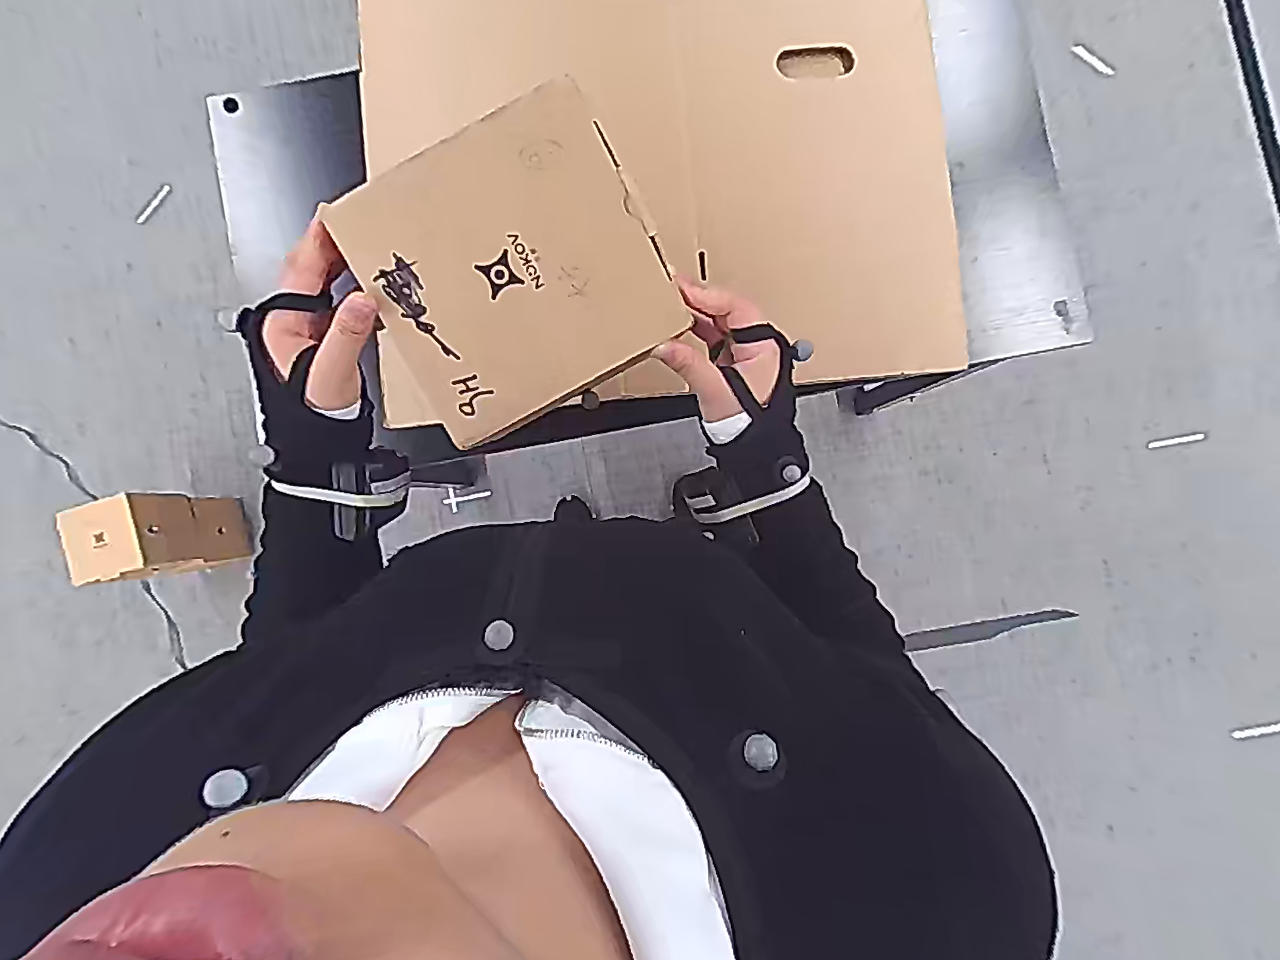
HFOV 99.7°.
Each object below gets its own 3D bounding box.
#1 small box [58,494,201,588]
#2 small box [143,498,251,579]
[{"bbox_3d":[-1.196,0.138,1.282,0.168,0.176,0.179,-17,87,0],"label":"small box"},{"bbox_3d":[-1.191,0.152,1.445,0.168,0.176,0.179,-15,88,1],"label":"small box"}]
